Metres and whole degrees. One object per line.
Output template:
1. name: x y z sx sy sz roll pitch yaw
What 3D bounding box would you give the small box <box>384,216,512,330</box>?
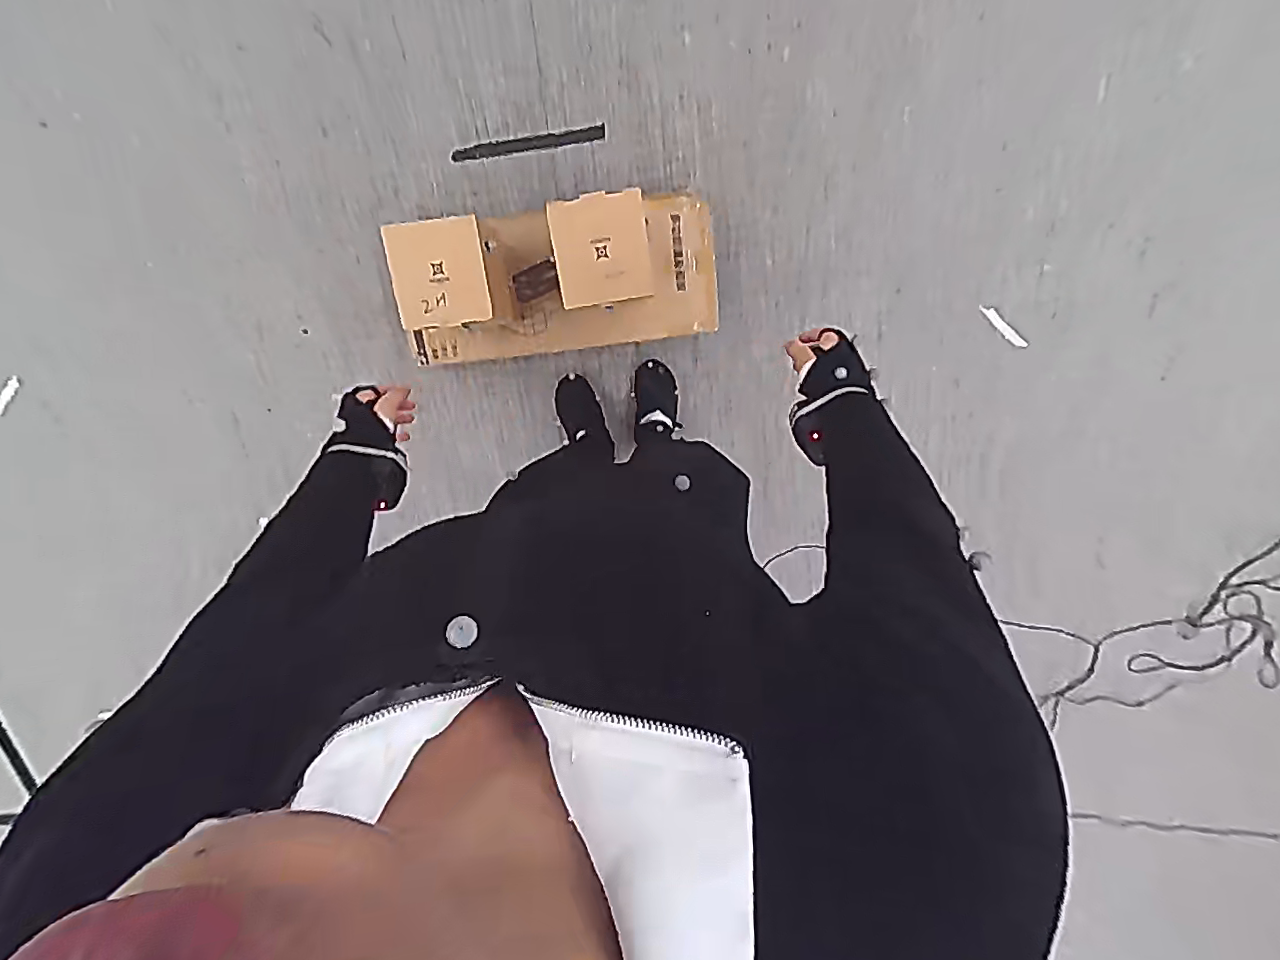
1. small box: -0.351 -0.380 1.019 0.168 0.176 0.179 -6 106 1

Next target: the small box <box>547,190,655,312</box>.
1. small box: -0.066 -0.418 1.012 0.168 0.176 0.179 -9 107 4

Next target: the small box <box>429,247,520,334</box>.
1. small box: -0.371 -0.418 1.180 0.168 0.176 0.179 -8 107 2
